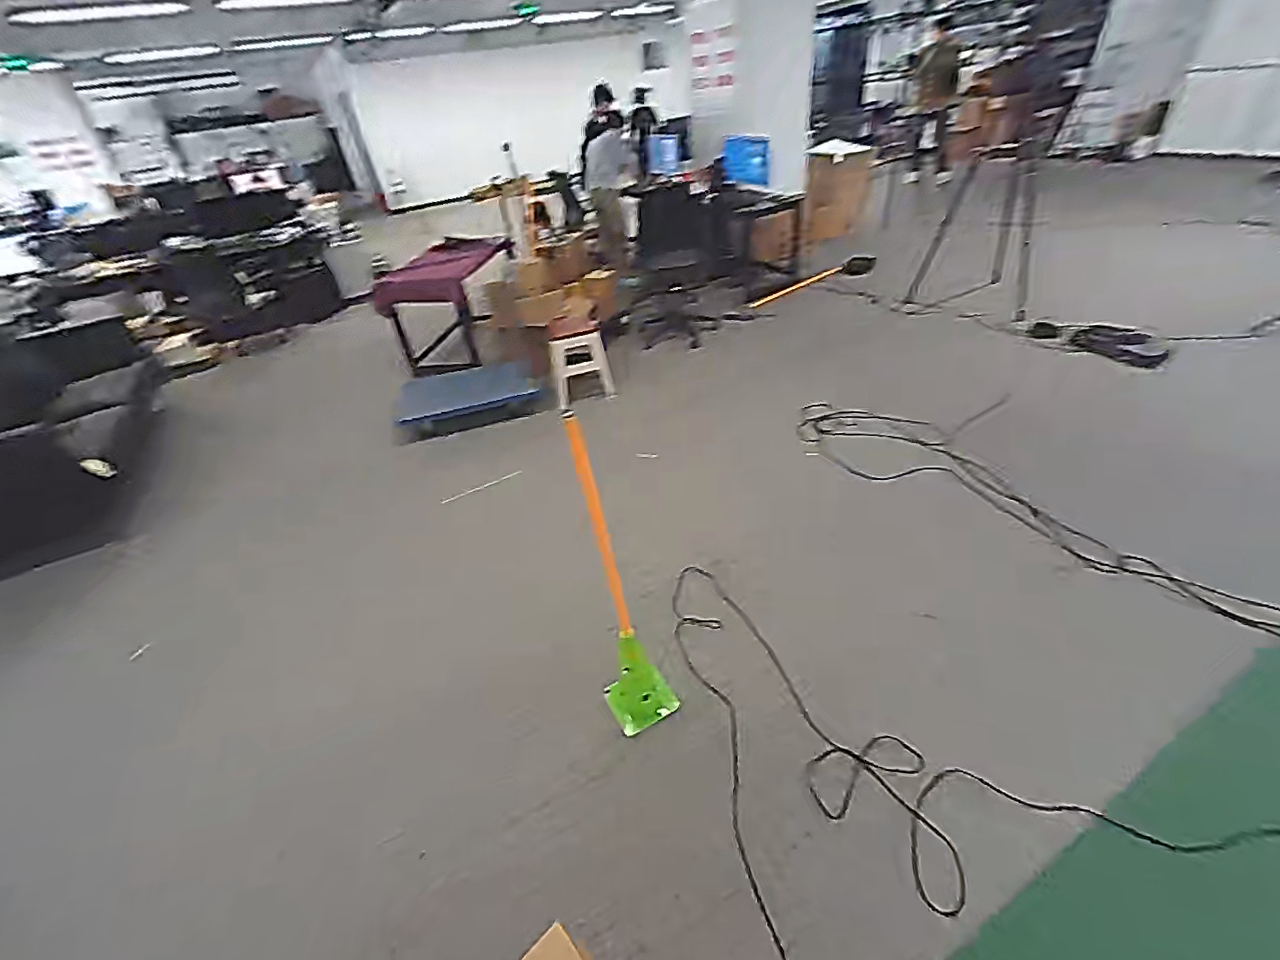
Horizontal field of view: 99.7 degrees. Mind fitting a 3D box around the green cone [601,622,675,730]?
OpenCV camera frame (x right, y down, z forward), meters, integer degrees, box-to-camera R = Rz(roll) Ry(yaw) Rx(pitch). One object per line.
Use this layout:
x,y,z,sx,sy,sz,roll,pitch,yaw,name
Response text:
-0.023,0.588,1.726,0.202,0.368,0.200,-22,40,-20,green cone
